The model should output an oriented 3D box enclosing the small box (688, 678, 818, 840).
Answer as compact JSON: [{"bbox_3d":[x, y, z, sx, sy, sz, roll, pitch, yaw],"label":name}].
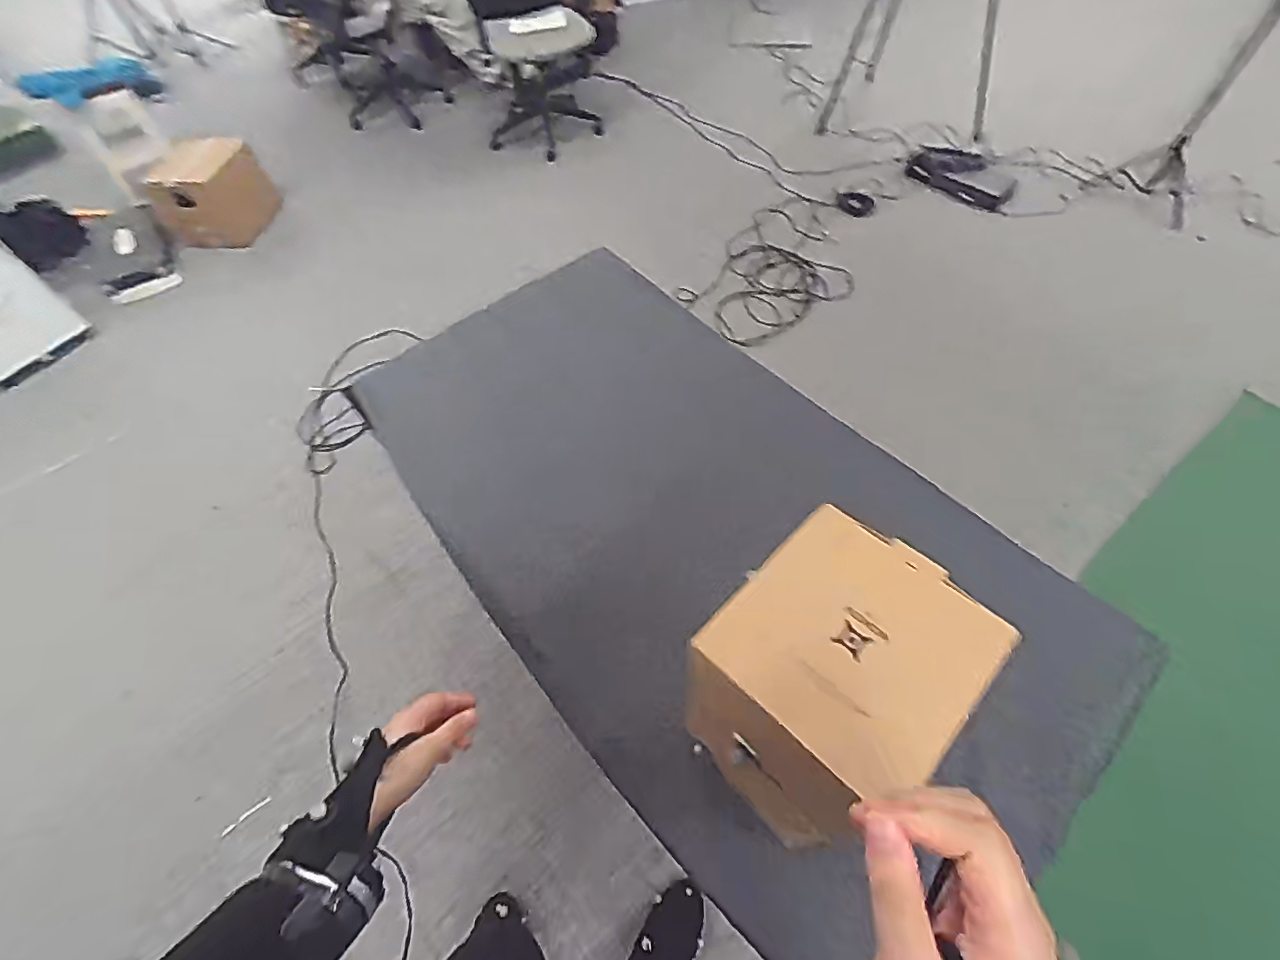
[{"bbox_3d":[0.169,0.255,0.589,0.179,0.176,0.168,-35,59,-22],"label":"small box"}]

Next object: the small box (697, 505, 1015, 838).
[{"bbox_3d":[0.159,0.162,0.457,0.179,0.176,0.168,-40,60,-22],"label":"small box"}]
